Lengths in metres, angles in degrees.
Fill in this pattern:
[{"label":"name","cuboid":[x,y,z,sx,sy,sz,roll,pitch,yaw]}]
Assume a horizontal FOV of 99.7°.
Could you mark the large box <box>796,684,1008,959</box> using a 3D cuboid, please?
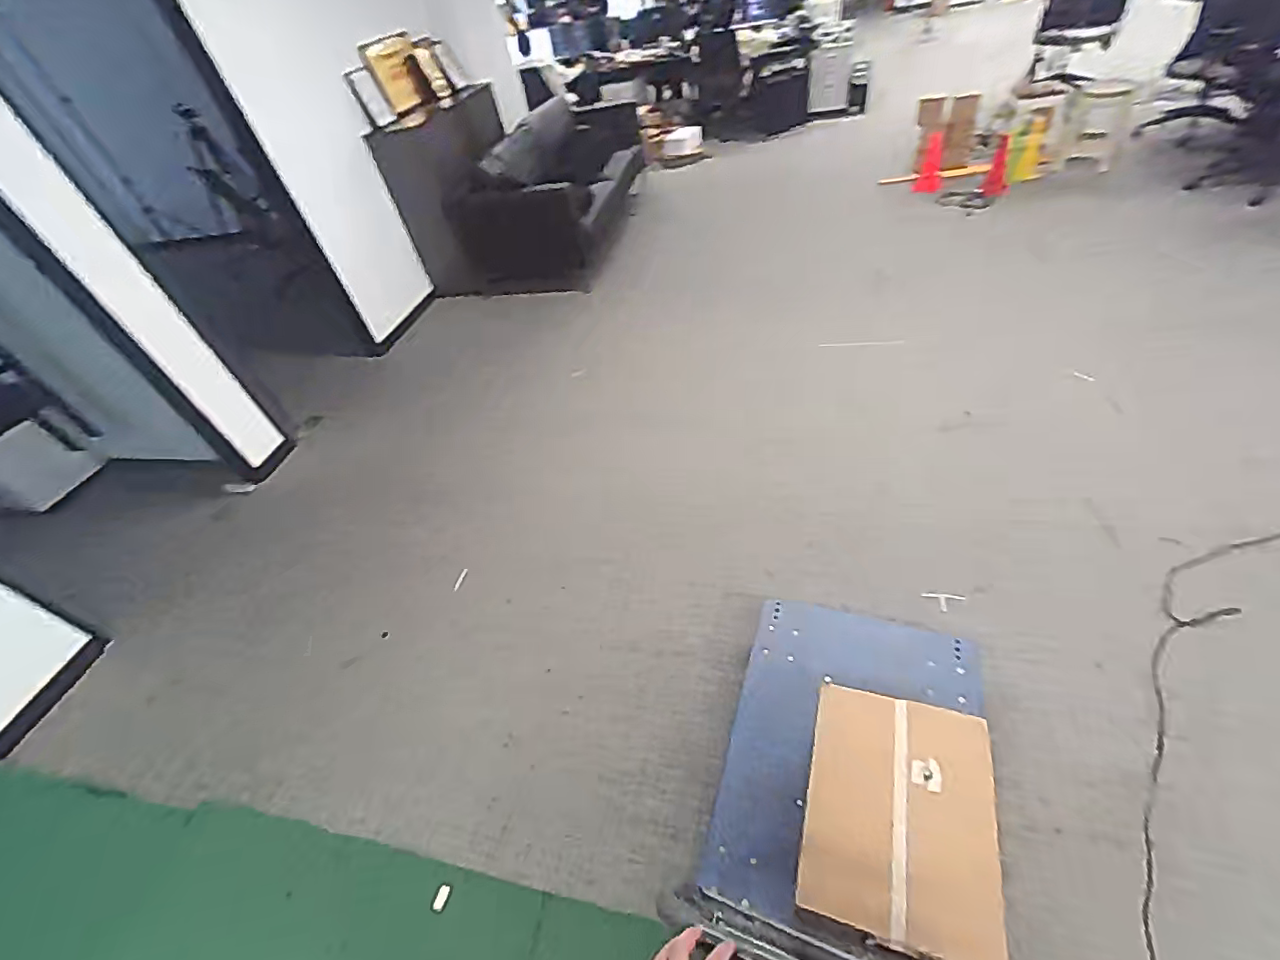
[{"label":"large box","cuboid":[0.493,0.698,1.085,0.320,0.320,0.408,7,47,20]}]
